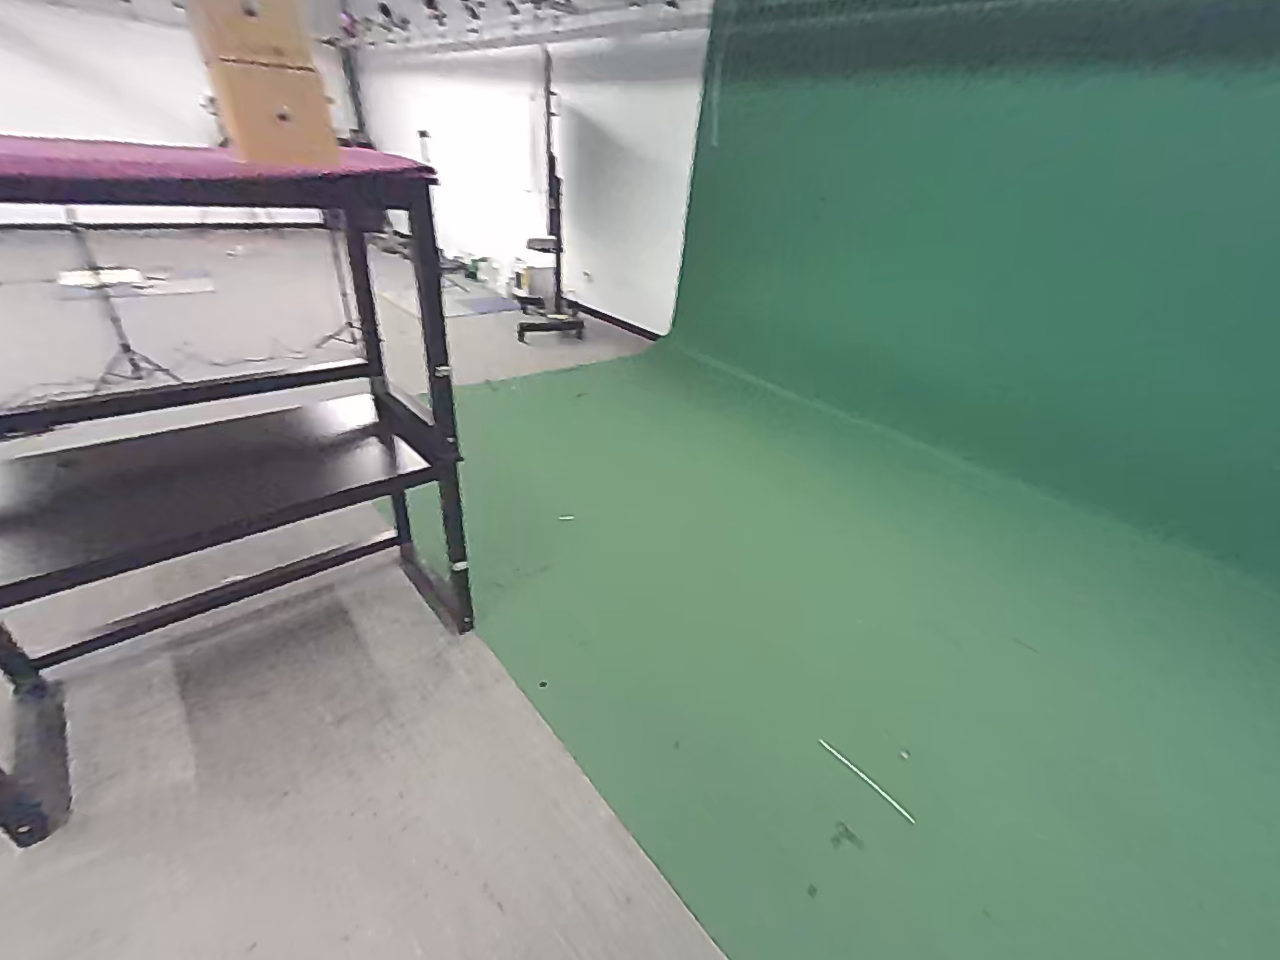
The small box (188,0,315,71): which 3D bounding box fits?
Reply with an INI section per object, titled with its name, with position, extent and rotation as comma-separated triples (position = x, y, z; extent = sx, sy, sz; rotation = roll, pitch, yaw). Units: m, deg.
[small box]
position = -0.734, -0.880, 1.012
extent = 0.168, 0.176, 0.179
rotation = -21, 38, -35
